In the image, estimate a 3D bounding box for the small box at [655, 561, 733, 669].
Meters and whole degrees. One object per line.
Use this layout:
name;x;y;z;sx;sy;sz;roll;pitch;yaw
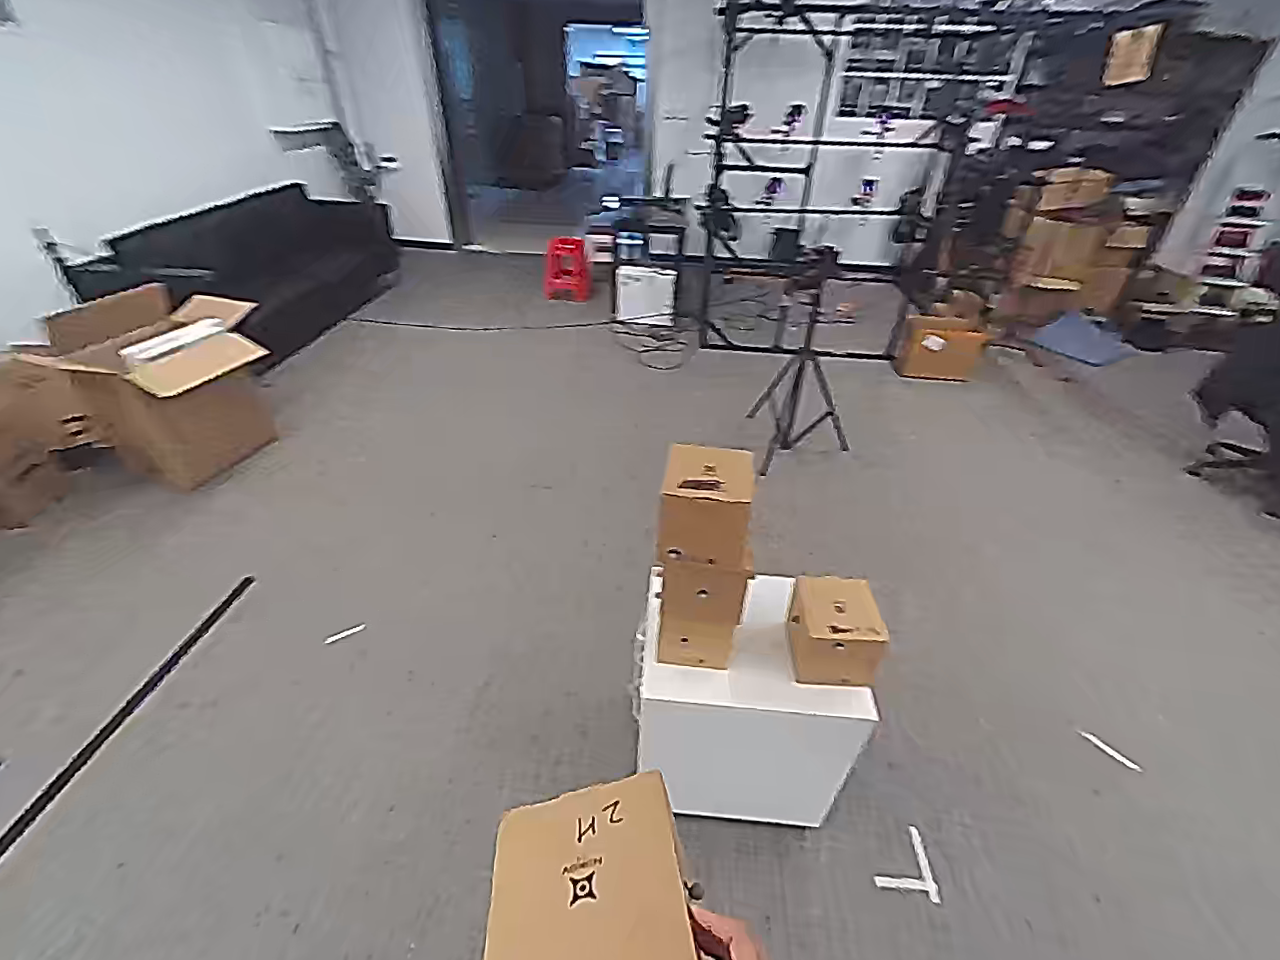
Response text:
small box;0.123;0.314;1.255;0.168;0.176;0.179;5;36;3

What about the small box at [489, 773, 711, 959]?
small box;-0.026;0.416;0.489;0.168;0.176;0.179;-13;21;-2

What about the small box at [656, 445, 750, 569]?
small box;0.122;0.052;1.055;0.168;0.176;0.179;6;36;6

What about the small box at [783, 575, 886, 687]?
small box;0.429;0.340;1.226;0.168;0.176;0.179;1;36;2
